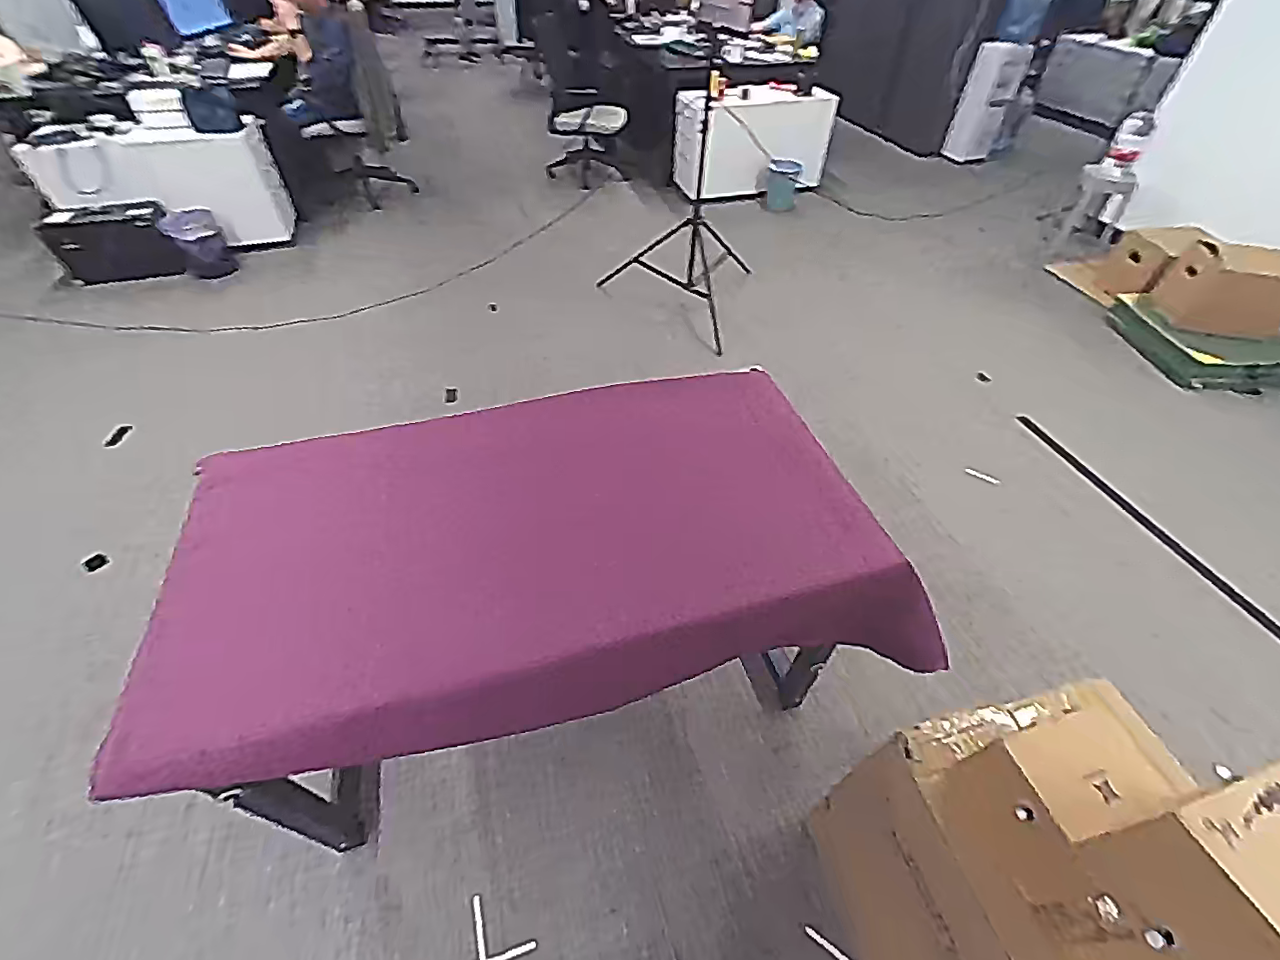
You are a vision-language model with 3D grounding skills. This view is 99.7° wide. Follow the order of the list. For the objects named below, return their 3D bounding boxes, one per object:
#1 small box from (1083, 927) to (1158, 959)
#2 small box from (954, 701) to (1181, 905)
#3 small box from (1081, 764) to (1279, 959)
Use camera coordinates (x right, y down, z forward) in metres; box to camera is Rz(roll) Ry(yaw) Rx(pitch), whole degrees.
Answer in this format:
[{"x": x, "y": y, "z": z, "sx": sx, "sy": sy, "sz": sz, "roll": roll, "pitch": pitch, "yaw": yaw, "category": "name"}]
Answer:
[{"x": 0.644, "y": 0.579, "z": 0.574, "sx": 0.168, "sy": 0.176, "sz": 0.179, "roll": -10, "pitch": 46, "yaw": -8, "category": "small box"}, {"x": 0.565, "y": 0.427, "z": 0.716, "sx": 0.168, "sy": 0.176, "sz": 0.179, "roll": -13, "pitch": 50, "yaw": -10, "category": "small box"}, {"x": 0.596, "y": 0.402, "z": 0.517, "sx": 0.168, "sy": 0.176, "sz": 0.179, "roll": -13, "pitch": 48, "yaw": -11, "category": "small box"}]
